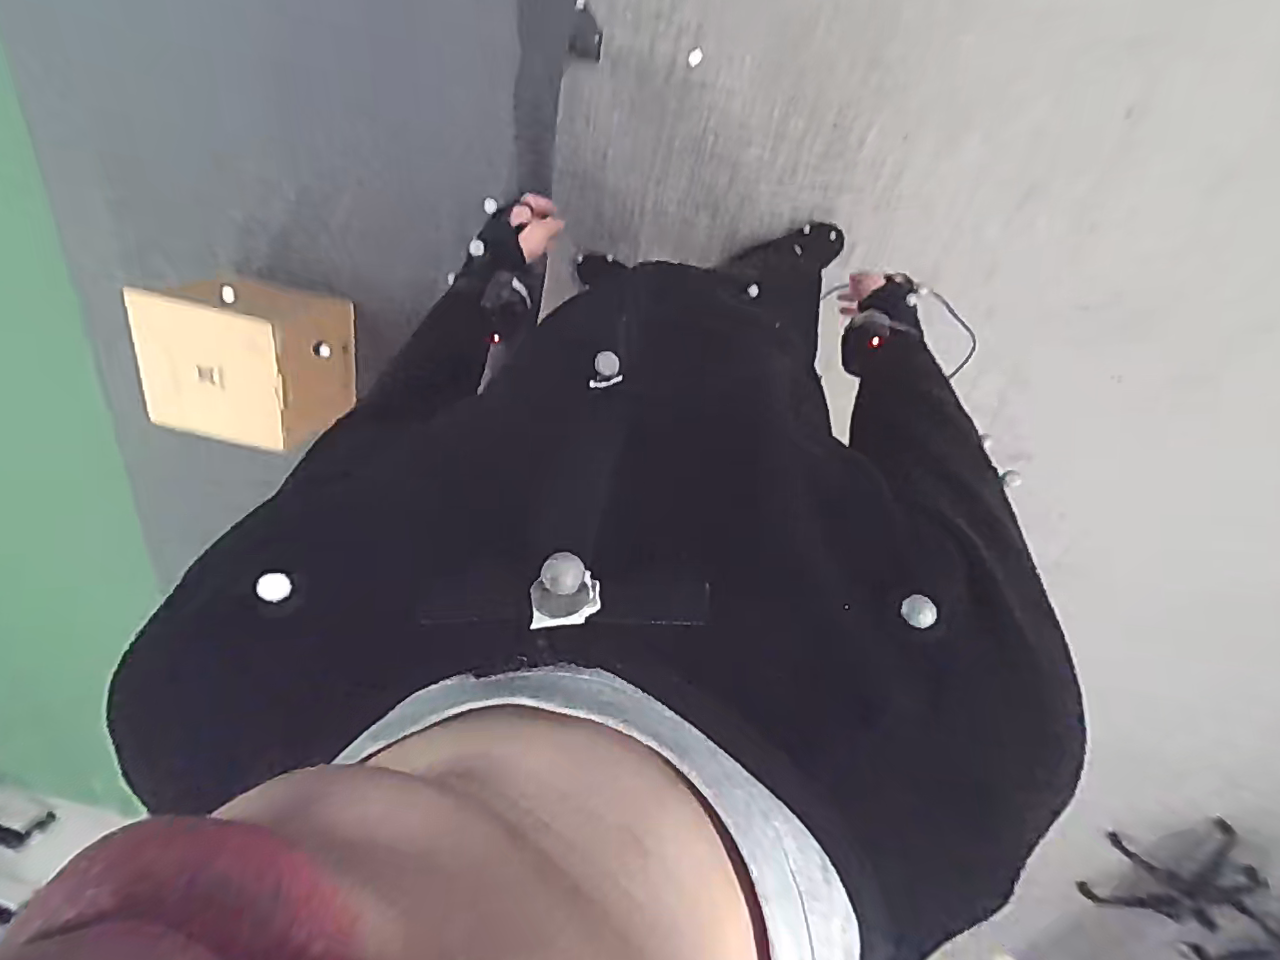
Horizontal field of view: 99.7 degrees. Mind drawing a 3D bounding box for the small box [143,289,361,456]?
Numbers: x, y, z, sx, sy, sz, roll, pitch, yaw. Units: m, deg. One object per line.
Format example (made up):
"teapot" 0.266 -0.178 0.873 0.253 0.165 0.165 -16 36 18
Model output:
"small box" -0.503 -0.154 0.736 0.179 0.176 0.168 13 116 0
